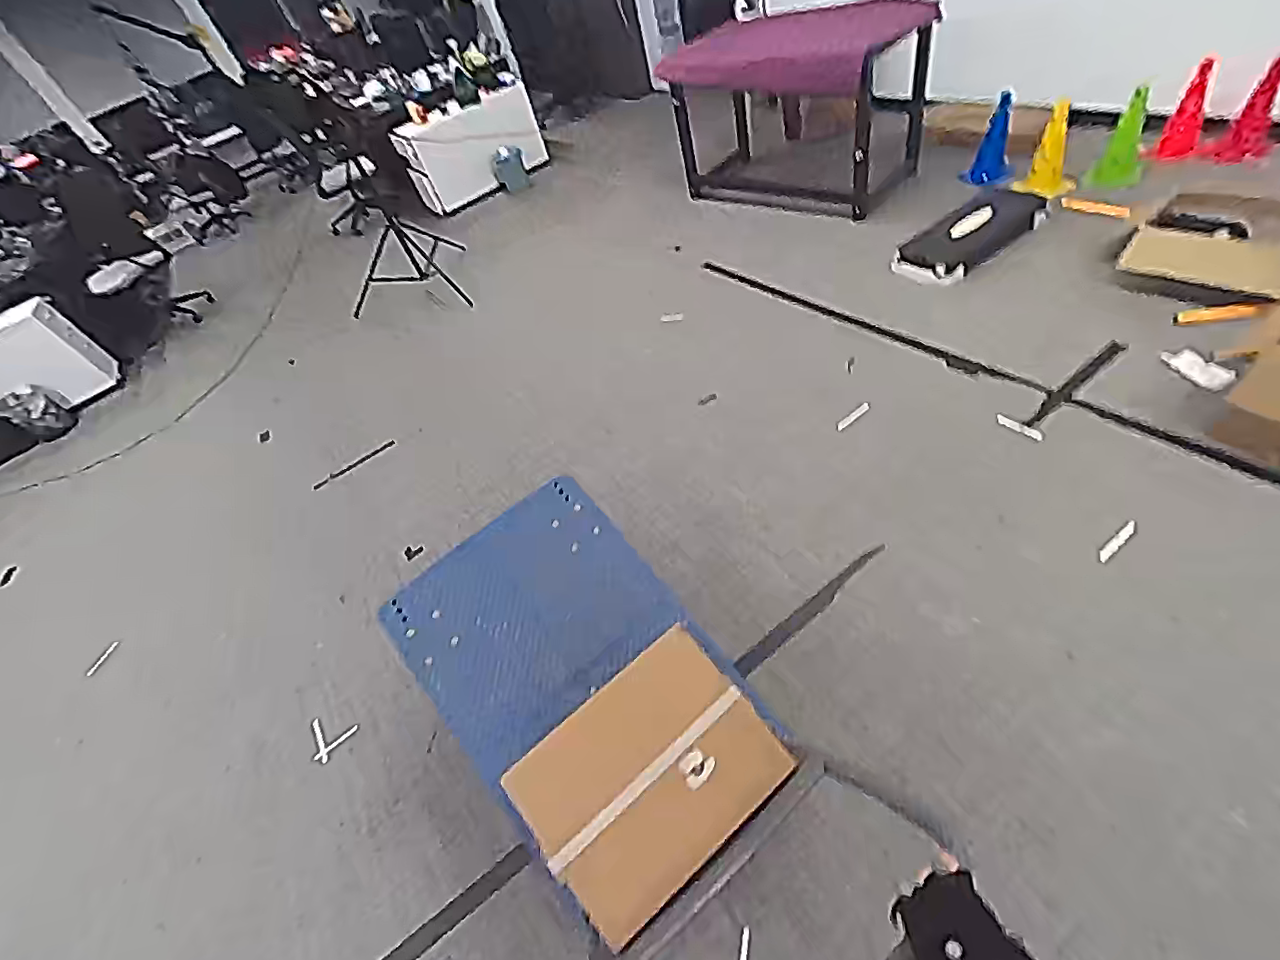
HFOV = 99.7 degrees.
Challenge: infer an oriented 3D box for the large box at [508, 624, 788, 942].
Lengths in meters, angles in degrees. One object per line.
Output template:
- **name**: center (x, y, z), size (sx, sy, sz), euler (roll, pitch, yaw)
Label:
- **large box**: center (0.011, 0.555, 1.070), size (0.408, 0.320, 0.320), euler (-38, 75, -16)
